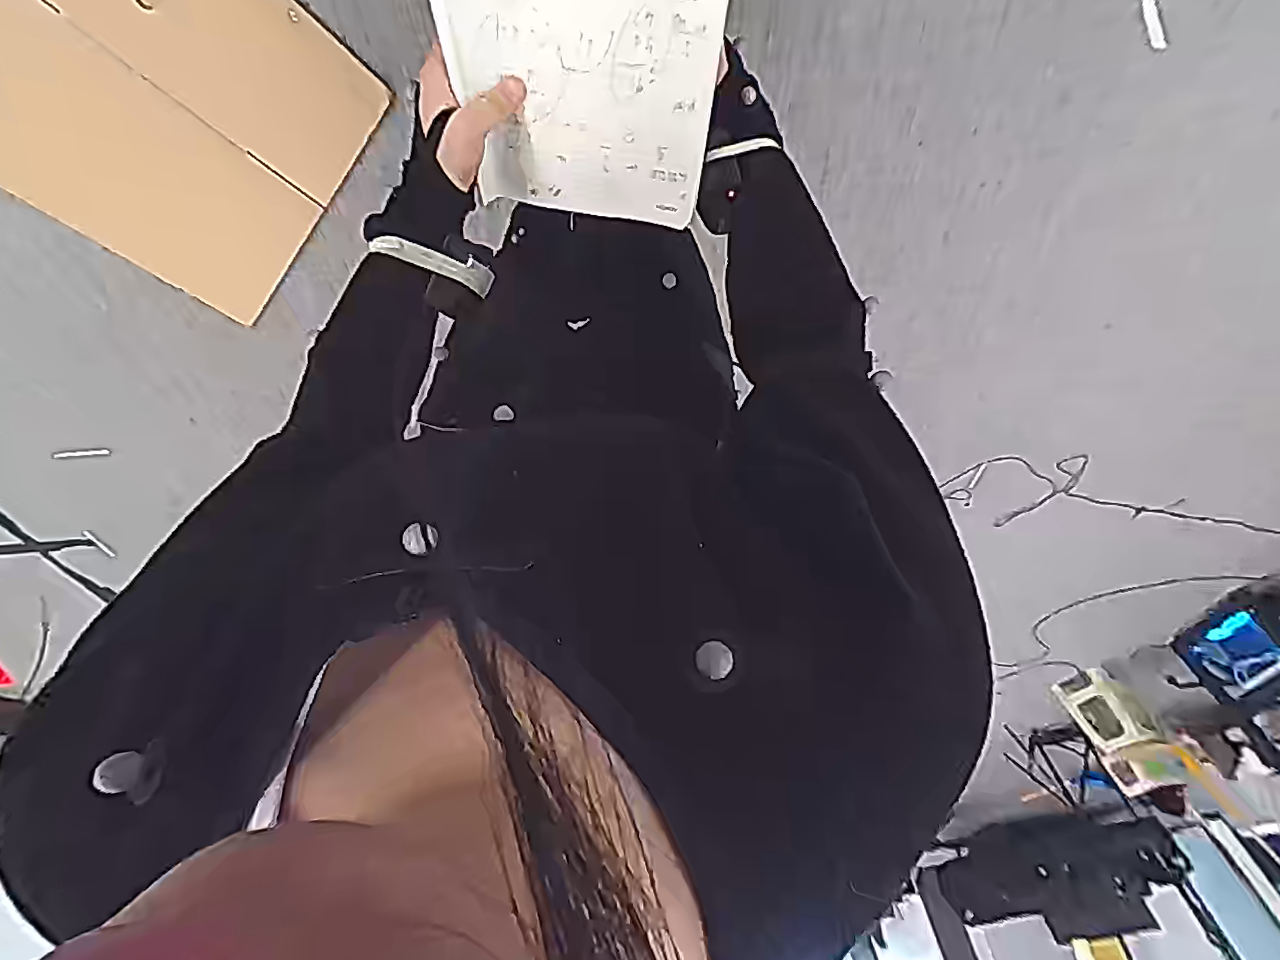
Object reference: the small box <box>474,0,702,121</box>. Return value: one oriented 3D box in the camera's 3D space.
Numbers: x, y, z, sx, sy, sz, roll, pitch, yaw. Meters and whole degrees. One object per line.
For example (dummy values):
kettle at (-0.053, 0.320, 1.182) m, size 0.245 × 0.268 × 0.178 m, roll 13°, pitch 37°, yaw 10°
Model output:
small box at (-0.047, -0.416, 0.433) m, size 0.168 × 0.176 × 0.179 m, roll -9°, pitch 134°, yaw 2°
